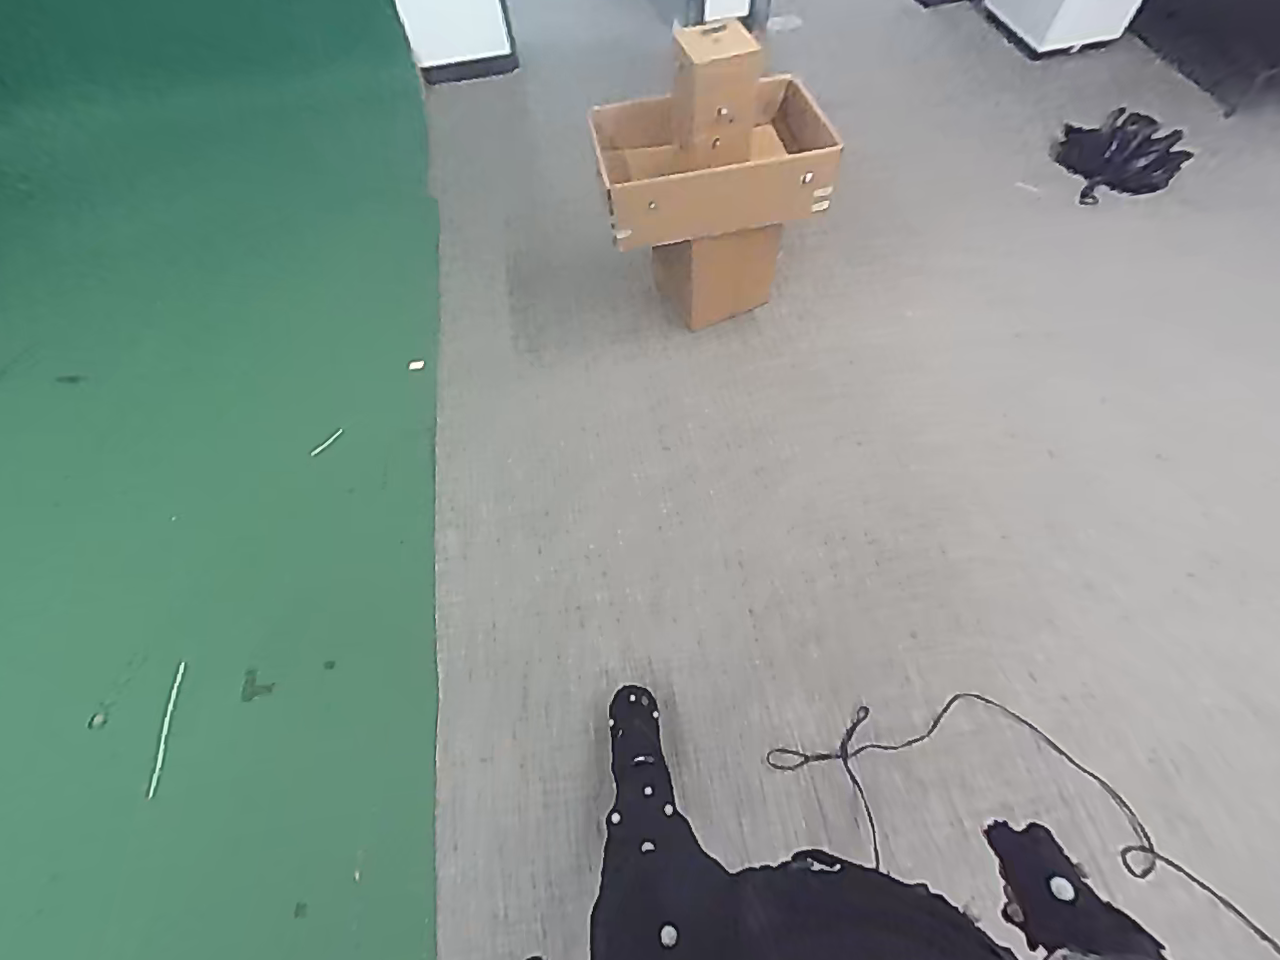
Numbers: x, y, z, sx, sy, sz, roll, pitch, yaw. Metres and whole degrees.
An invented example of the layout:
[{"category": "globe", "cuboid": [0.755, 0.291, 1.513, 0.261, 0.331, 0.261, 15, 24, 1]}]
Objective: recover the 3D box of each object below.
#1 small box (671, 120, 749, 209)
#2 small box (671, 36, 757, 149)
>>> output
[{"category": "small box", "cuboid": [0.190, -0.897, 1.516, 0.168, 0.176, 0.179, -17, 59, -4]}, {"category": "small box", "cuboid": [0.180, -0.982, 1.375, 0.168, 0.176, 0.179, -16, 61, -5]}]
